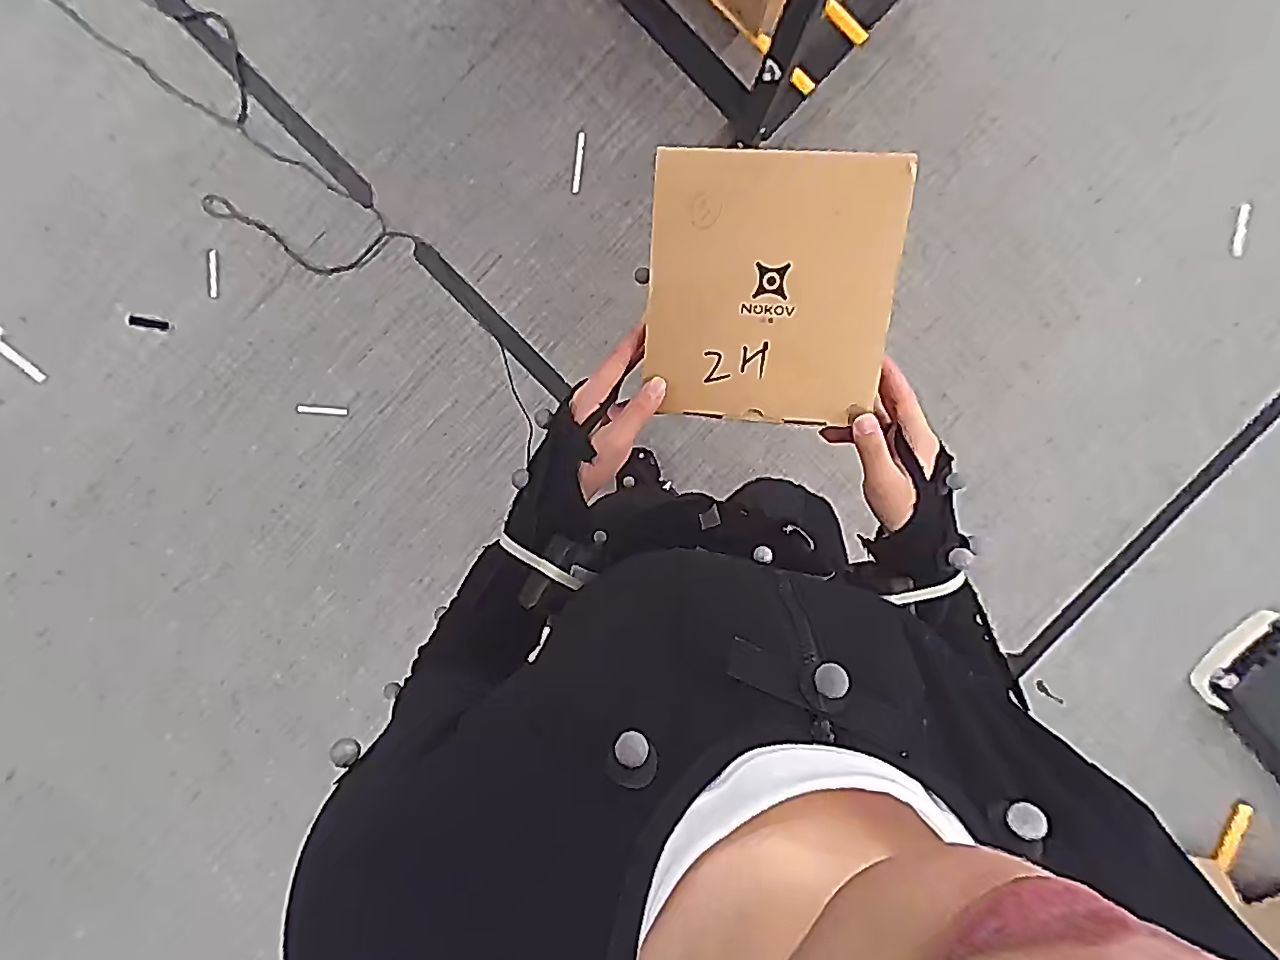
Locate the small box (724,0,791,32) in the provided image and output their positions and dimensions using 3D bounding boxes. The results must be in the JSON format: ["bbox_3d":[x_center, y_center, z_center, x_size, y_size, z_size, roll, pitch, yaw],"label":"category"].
[{"bbox_3d":[0.255,-1.066,1.072,0.168,0.176,0.179,43,94,-4],"label":"small box"}]

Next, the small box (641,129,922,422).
[{"bbox_3d":[0.095,-0.152,0.432,0.168,0.176,0.179,5,107,6],"label":"small box"}]
